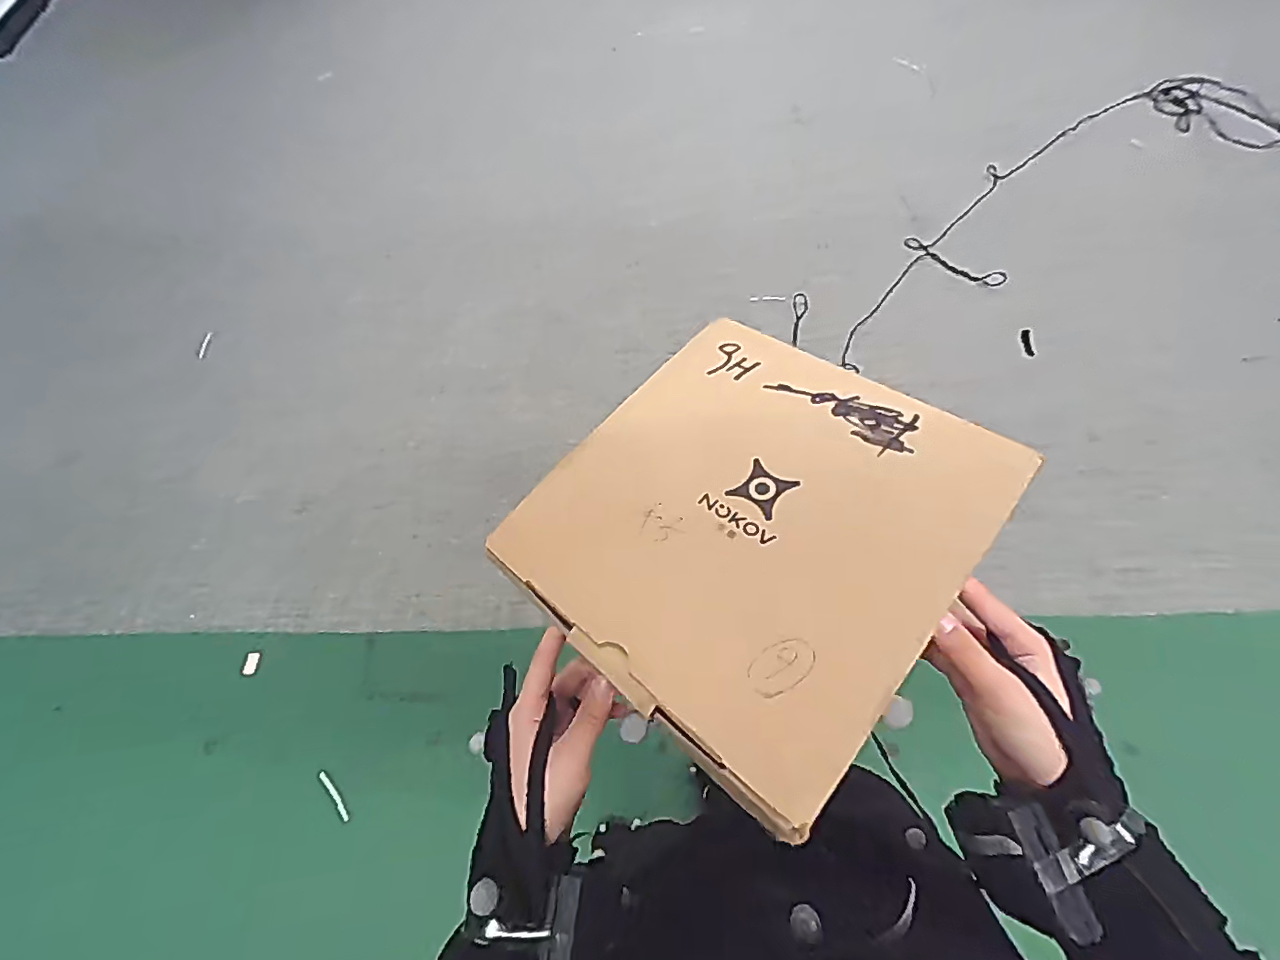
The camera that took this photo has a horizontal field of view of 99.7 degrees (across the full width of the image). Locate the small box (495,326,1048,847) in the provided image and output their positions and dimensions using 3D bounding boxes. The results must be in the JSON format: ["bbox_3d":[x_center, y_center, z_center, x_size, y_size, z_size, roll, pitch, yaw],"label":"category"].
[{"bbox_3d":[0.064,0.058,0.293,0.168,0.176,0.179,34,71,29],"label":"small box"}]
